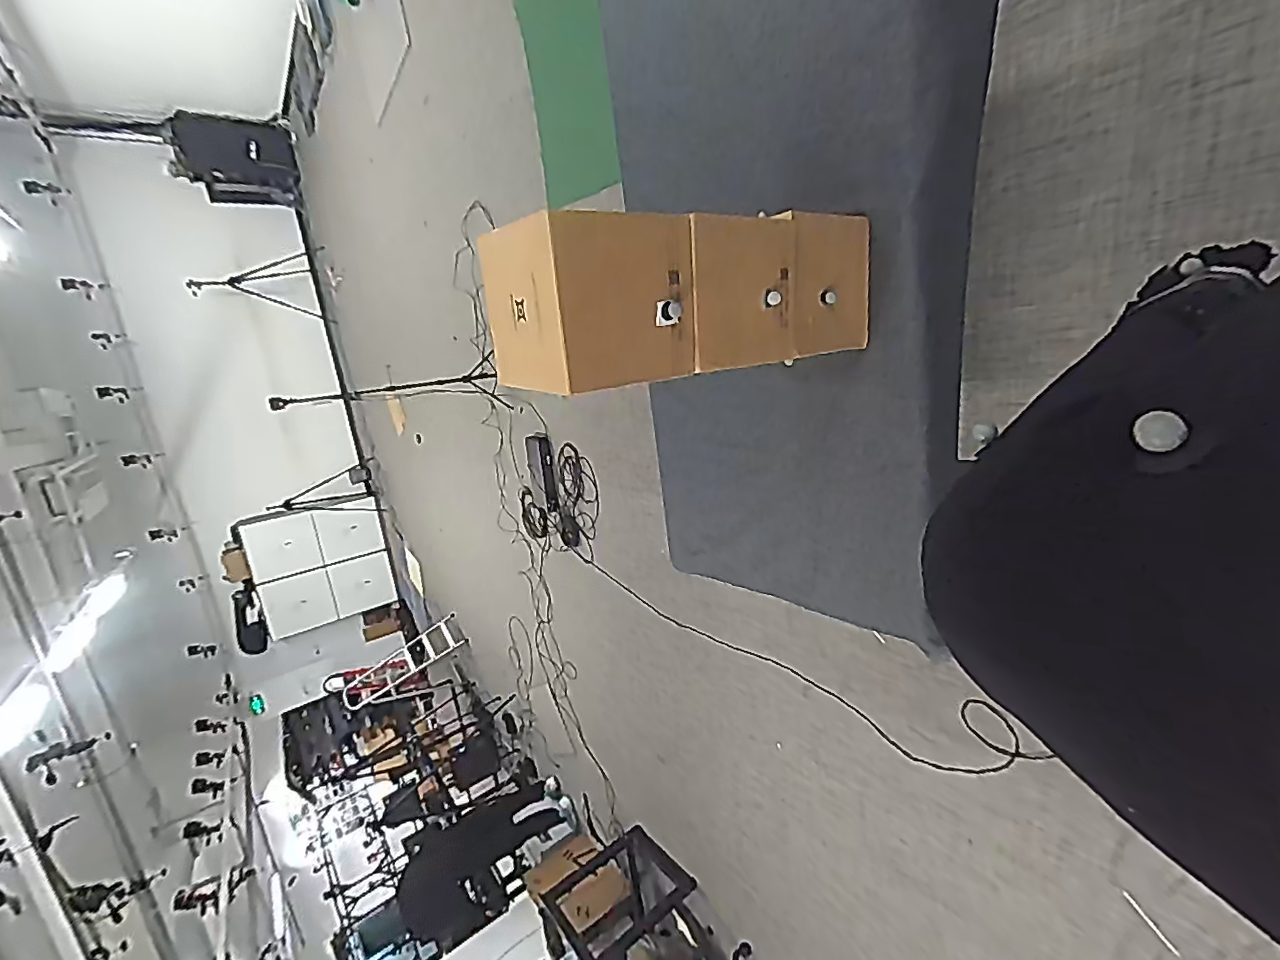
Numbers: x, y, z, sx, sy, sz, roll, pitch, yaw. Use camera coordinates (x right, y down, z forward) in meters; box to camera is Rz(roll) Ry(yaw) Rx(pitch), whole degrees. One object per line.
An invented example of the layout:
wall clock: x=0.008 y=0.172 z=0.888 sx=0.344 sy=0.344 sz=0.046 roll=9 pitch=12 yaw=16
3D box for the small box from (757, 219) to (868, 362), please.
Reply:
small box: x=0.213 y=-0.270 z=0.787 sx=0.168 sy=0.176 sz=0.179 roll=15 pitch=116 yaw=53

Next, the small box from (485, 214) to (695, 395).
small box: x=-0.055 y=-0.196 z=0.616 sx=0.179 sy=0.176 sz=0.168 roll=18 pitch=119 yaw=51

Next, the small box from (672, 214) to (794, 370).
small box: x=0.077 y=-0.233 z=0.702 sx=0.179 sy=0.176 sz=0.168 roll=16 pitch=116 yaw=55
